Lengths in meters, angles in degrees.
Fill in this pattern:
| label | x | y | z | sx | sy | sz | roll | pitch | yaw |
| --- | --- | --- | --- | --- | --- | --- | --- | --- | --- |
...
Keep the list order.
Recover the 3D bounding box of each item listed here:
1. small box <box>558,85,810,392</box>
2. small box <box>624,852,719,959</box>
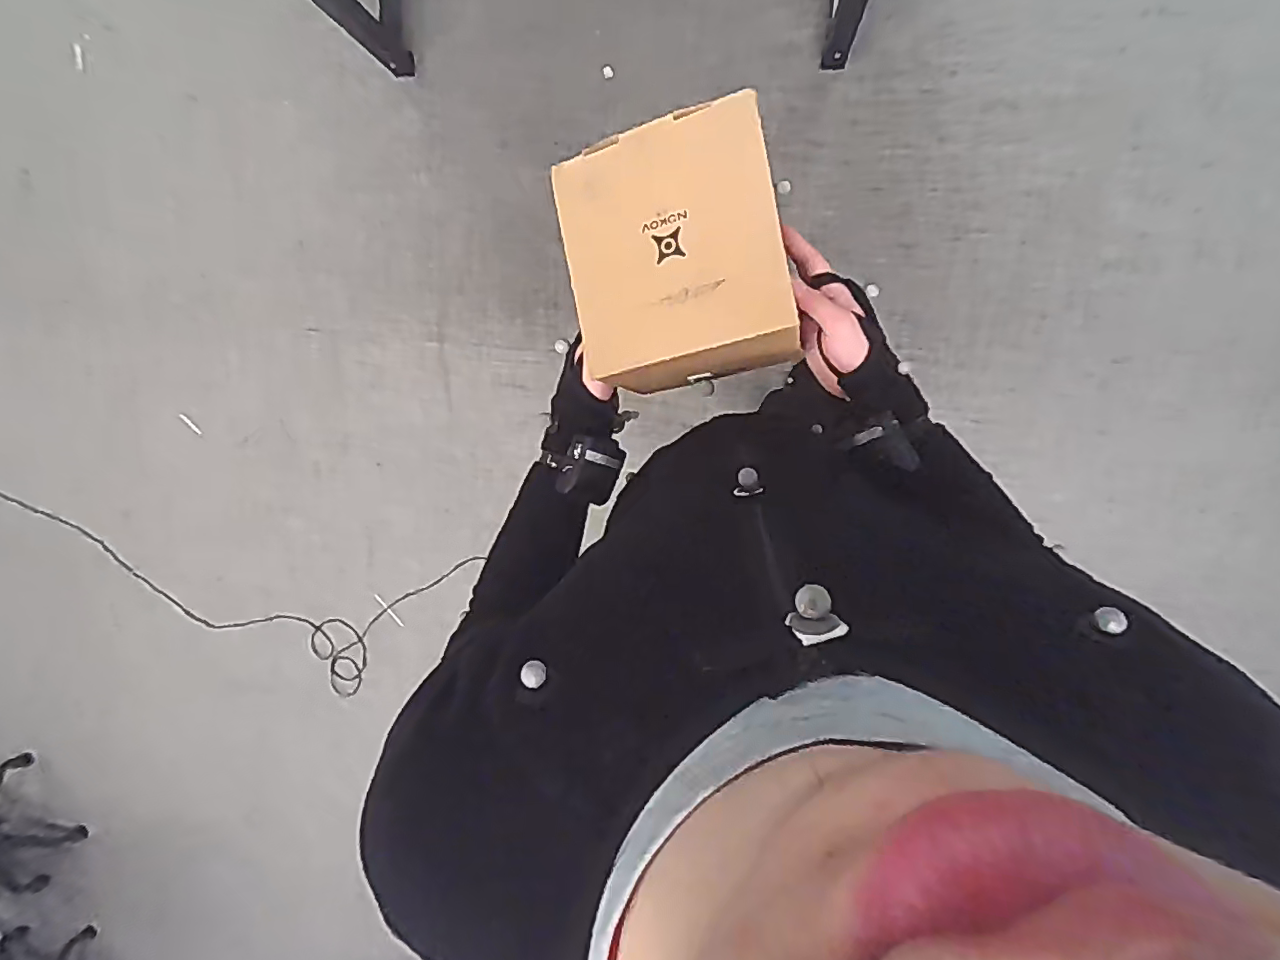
| label | x | y | z | sx | sy | sz | roll | pitch | yaw |
| --- | --- | --- | --- | --- | --- | --- | --- | --- | --- |
| small box | 0.049 | -0.187 | 0.481 | 0.168 | 0.176 | 0.179 | -12 | 91 | 17 |
| small box | 0.067 | 0.858 | 1.030 | 0.168 | 0.176 | 0.179 | -1 | 102 | 8 |
